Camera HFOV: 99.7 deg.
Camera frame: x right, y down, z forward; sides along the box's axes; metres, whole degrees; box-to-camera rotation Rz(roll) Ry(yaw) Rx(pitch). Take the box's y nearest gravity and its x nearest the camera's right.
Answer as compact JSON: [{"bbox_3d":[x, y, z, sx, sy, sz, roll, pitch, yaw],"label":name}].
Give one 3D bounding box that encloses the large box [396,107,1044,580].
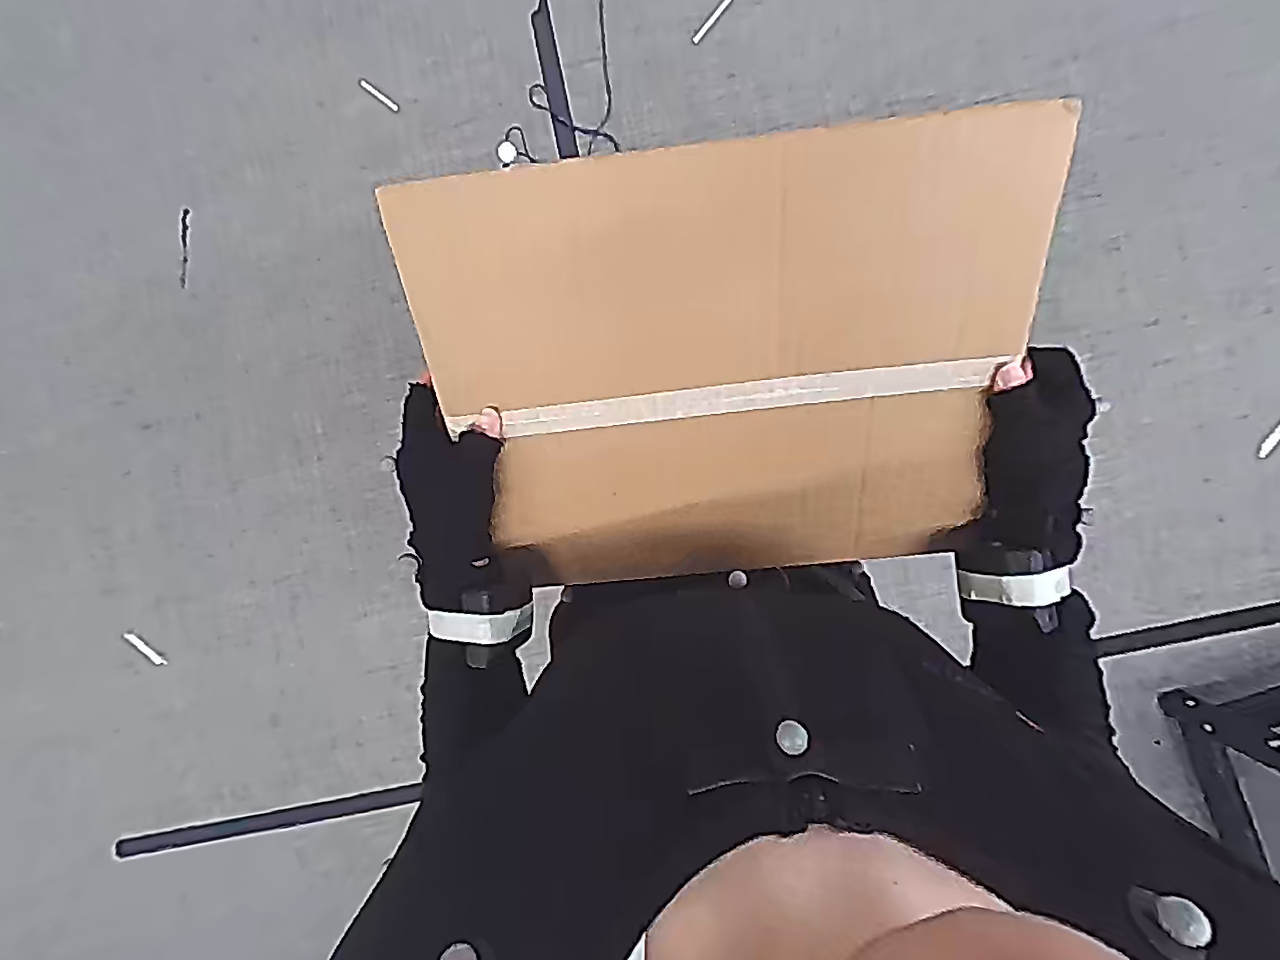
[{"bbox_3d":[0.057,-0.135,0.528,0.408,0.320,0.320,-6,120,3],"label":"large box"}]
